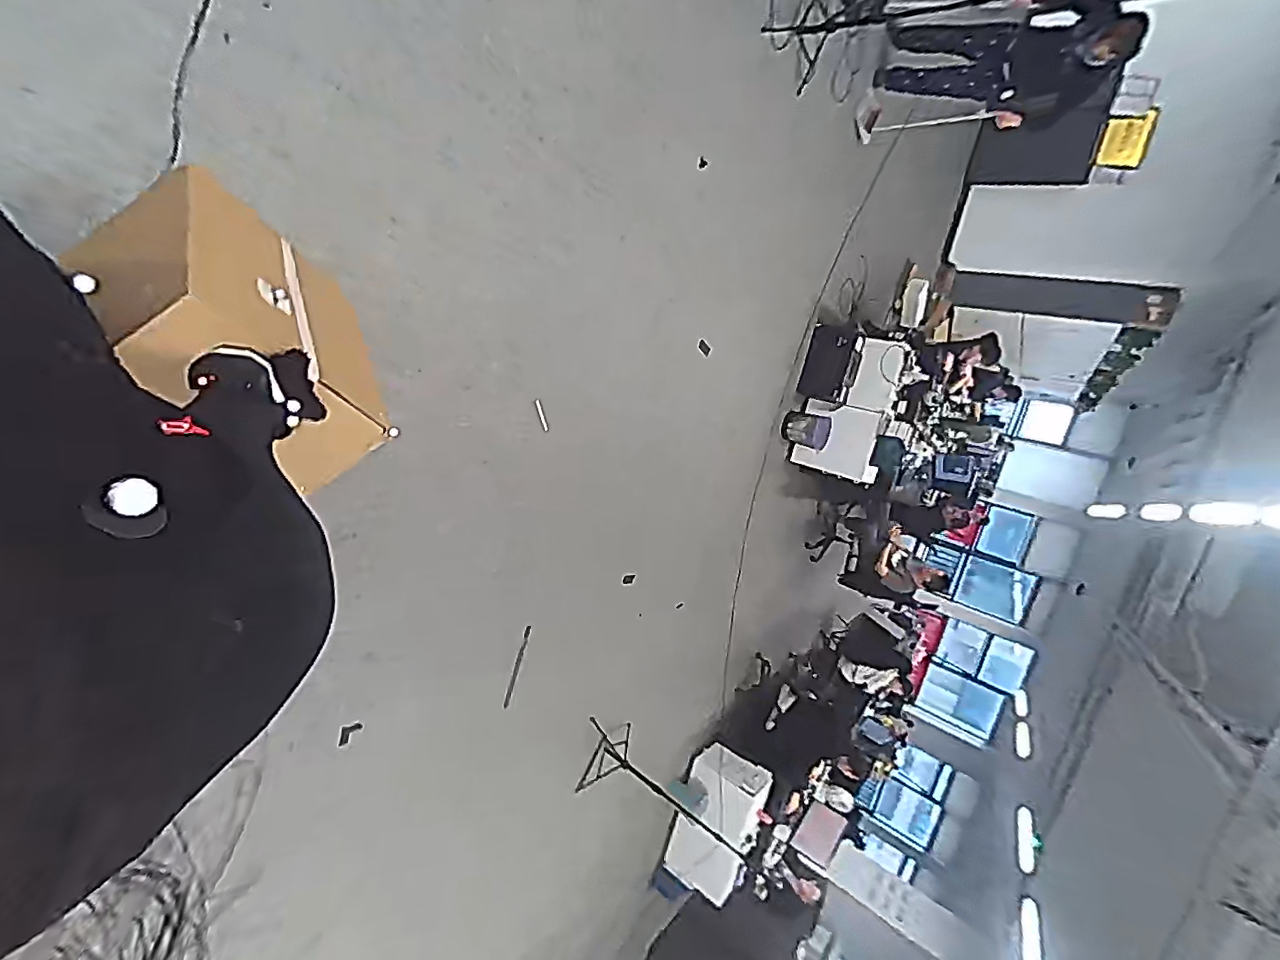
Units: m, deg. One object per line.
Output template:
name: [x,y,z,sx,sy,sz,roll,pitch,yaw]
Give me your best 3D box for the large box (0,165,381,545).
large box: [-0.665,-0.181,0.824,0.320,0.408,0.320,-34,147,3]
